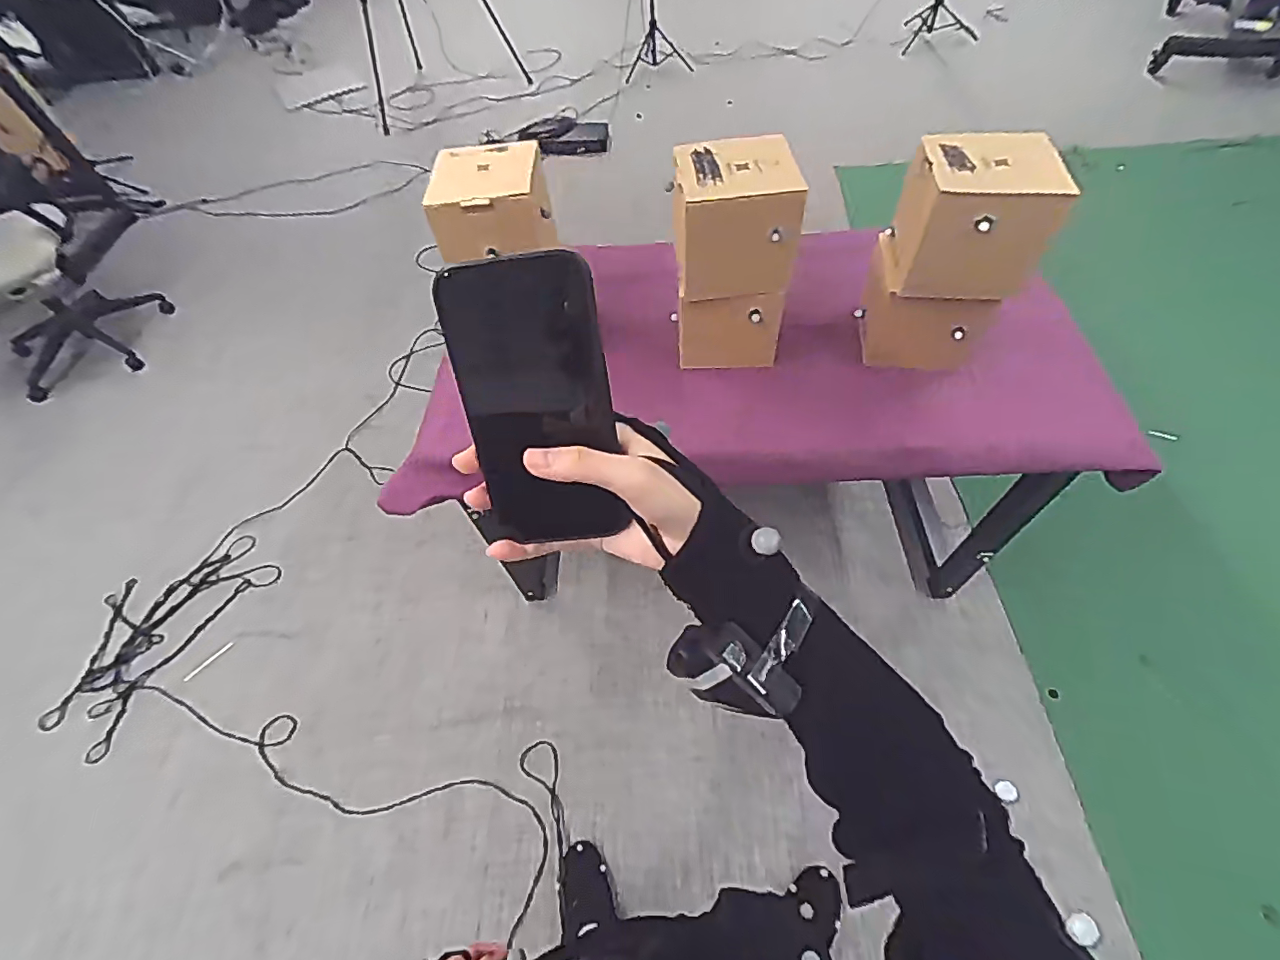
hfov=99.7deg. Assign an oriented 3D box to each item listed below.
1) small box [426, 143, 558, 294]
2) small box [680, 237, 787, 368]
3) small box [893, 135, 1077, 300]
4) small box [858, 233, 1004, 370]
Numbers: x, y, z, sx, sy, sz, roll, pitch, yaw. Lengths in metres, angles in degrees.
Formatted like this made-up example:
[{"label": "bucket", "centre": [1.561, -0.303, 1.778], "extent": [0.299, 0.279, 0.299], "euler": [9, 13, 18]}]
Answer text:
[{"label": "small box", "centre": [-0.237, -0.434, 0.917], "extent": [0.168, 0.176, 0.179], "euler": [-4, 56, 2]}, {"label": "small box", "centre": [0.164, -0.322, 0.999], "extent": [0.179, 0.176, 0.168], "euler": [-1, 56, 5]}, {"label": "small box", "centre": [0.497, -0.392, 0.816], "extent": [0.179, 0.176, 0.168], "euler": [5, 56, 8]}, {"label": "small box", "centre": [0.502, -0.313, 0.960], "extent": [0.179, 0.176, 0.168], "euler": [5, 56, 9]}]
